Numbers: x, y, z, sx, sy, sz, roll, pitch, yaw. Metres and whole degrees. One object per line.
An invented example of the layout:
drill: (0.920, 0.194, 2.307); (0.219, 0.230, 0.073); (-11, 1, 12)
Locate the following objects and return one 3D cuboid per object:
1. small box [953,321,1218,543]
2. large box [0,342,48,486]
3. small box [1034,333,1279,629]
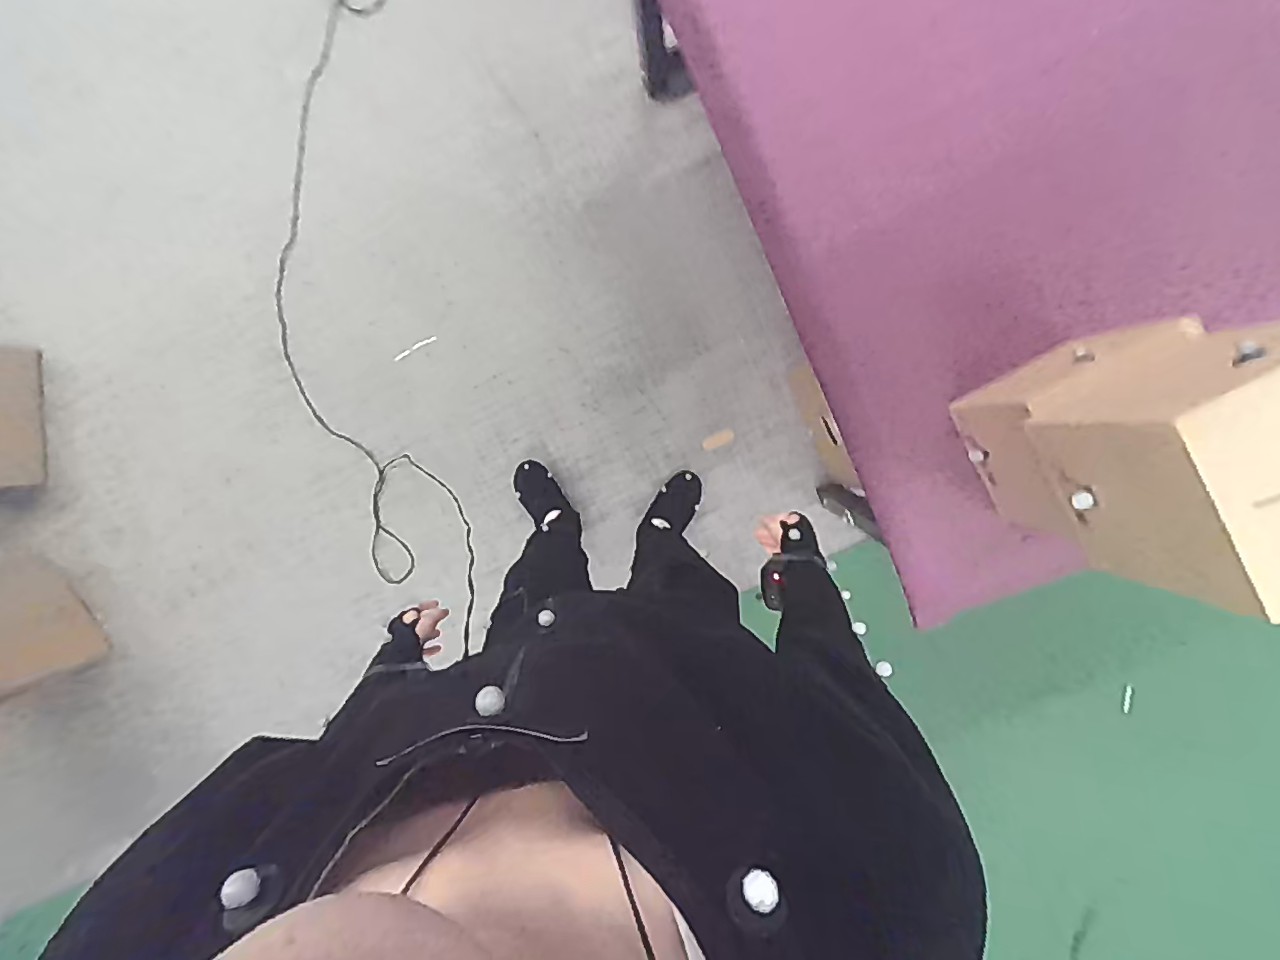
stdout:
small box: (0.498, -0.050, 0.600); (0.179, 0.176, 0.168); (-27, 92, 6)
large box: (-1.913, -0.185, 1.457); (0.320, 0.320, 0.408); (5, 95, 4)
small box: (0.482, -0.013, 0.439); (0.179, 0.176, 0.168); (-27, 92, 6)
